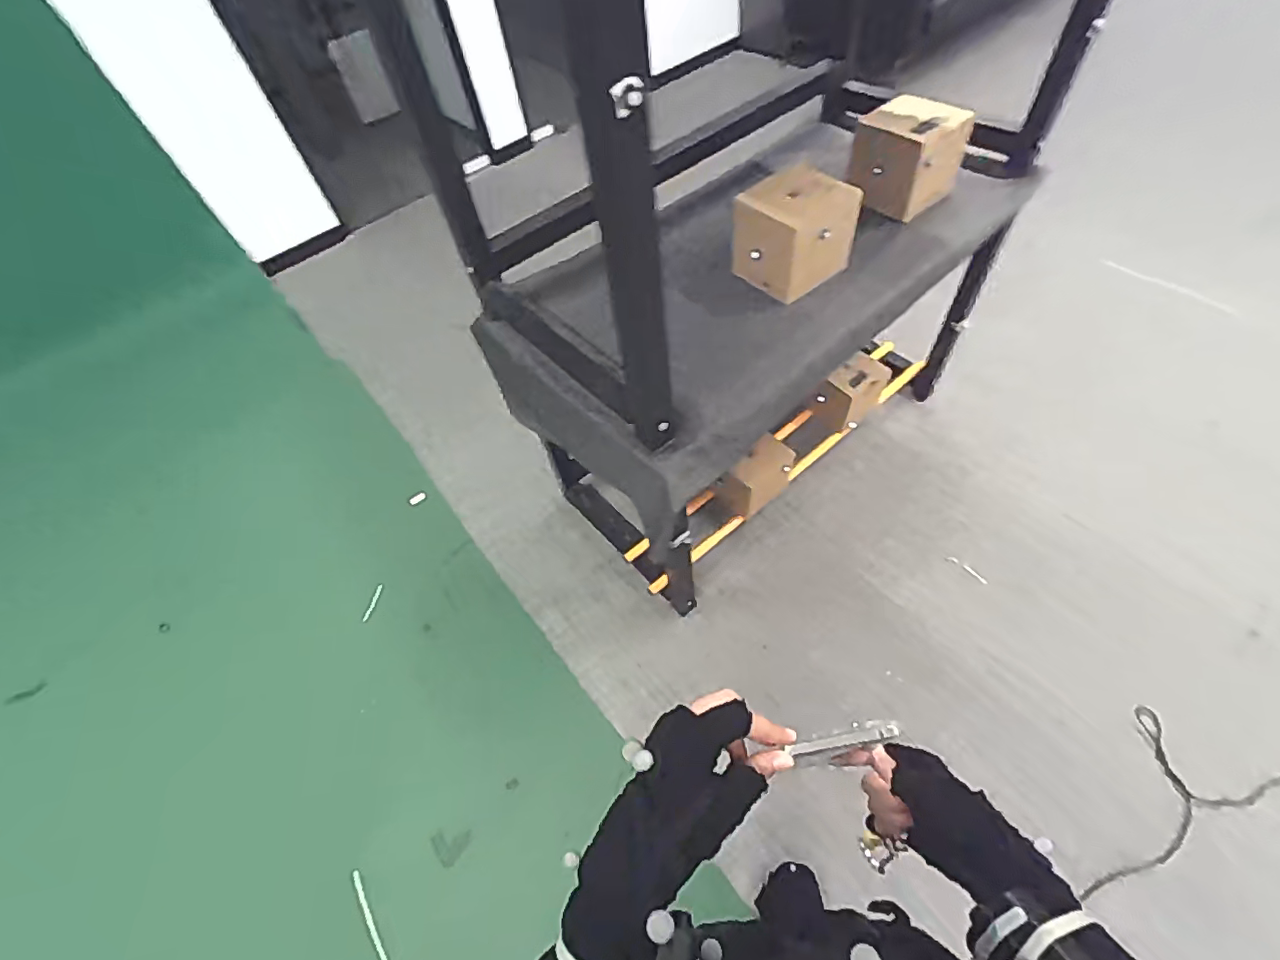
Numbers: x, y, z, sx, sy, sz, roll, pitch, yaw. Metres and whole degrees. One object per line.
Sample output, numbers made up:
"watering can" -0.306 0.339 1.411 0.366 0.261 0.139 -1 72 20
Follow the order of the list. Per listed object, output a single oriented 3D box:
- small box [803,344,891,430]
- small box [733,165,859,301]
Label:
"small box" 0.625 -0.276 1.656 0.168 0.176 0.179 -34 58 -16
"small box" 0.306 -0.492 1.088 0.179 0.176 0.168 -35 58 -16
